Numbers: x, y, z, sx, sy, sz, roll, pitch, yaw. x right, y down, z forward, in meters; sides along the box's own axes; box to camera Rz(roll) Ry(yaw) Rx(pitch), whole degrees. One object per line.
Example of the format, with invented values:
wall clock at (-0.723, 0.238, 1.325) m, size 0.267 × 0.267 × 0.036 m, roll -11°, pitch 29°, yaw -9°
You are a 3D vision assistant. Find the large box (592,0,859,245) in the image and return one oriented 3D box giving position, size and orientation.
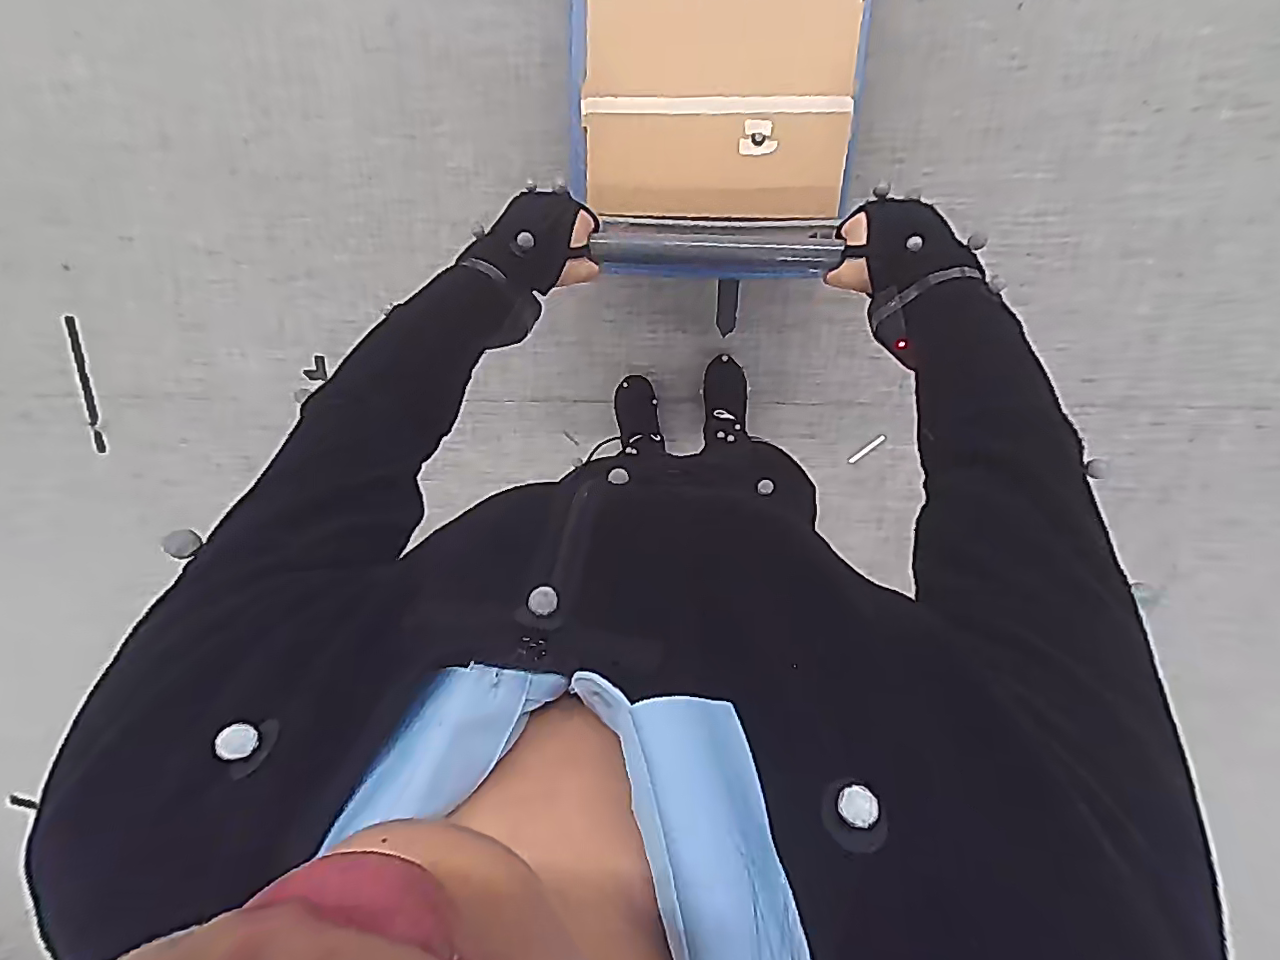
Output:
large box at (0.132, -0.619, 0.991) m, size 0.408 × 0.320 × 0.320 m, roll 3°, pitch 107°, yaw 3°
